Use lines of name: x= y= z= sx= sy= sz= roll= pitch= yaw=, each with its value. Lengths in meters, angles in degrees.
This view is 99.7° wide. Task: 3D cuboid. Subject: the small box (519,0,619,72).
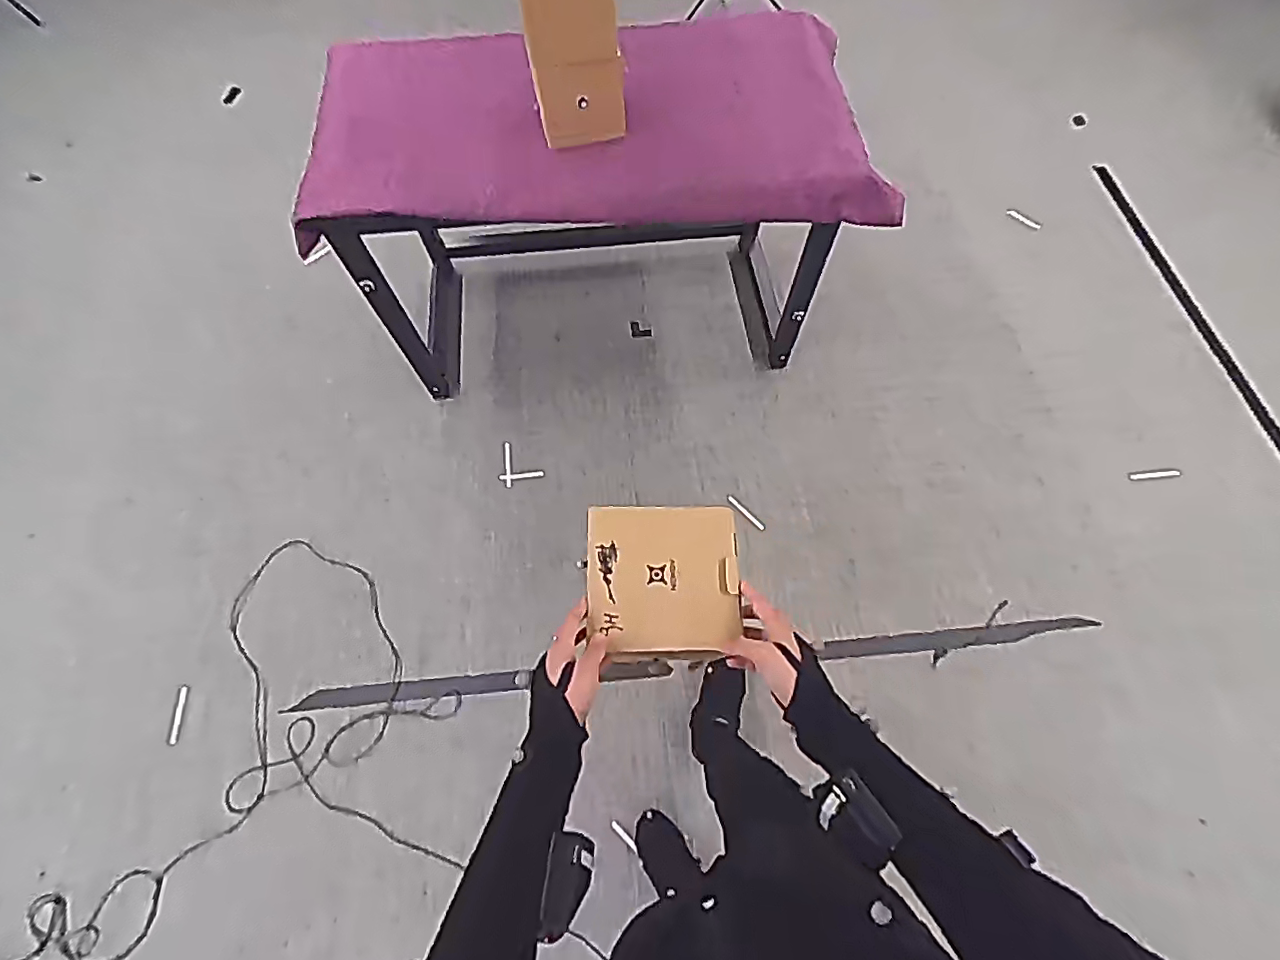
small box: x=-0.138 y=-0.903 z=1.015 sx=0.179 sy=0.176 sz=0.168 roll=-8 pitch=66 yaw=-3

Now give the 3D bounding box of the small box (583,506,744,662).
small box: x=0.020 y=0.139 z=0.688 sx=0.179 sy=0.176 sz=0.168 roll=1 pitch=68 yaw=-6
